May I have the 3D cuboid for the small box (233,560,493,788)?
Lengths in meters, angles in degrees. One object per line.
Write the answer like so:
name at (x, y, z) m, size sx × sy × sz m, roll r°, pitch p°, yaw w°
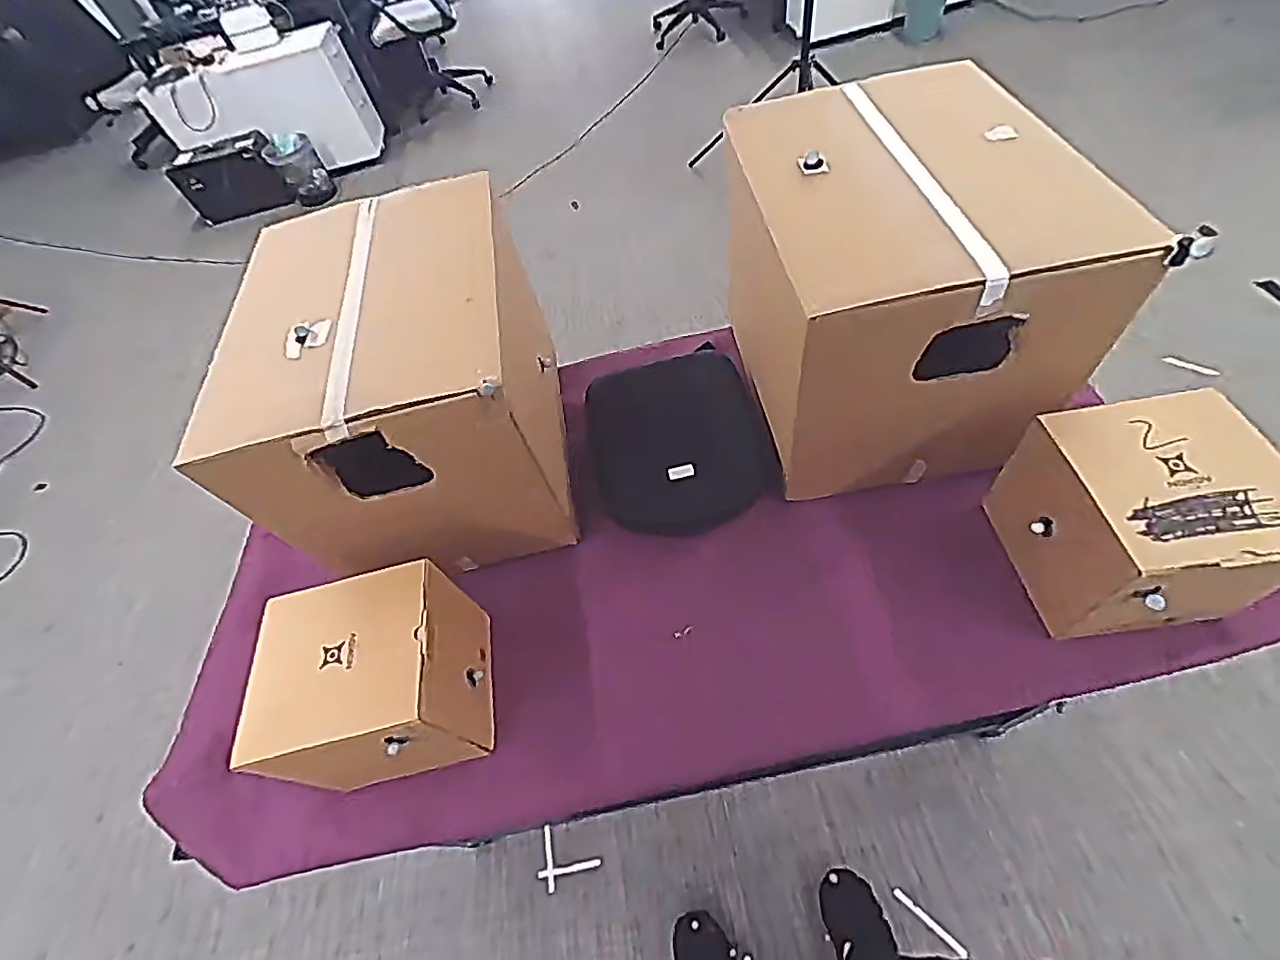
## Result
small box at (-0.277, 0.216, 0.585) m, size 0.179 × 0.176 × 0.168 m, roll -16°, pitch 53°, yaw 1°

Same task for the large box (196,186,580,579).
large box at (-0.287, -0.115, 0.731) m, size 0.320 × 0.320 × 0.408 m, roll -15°, pitch 57°, yaw 1°
